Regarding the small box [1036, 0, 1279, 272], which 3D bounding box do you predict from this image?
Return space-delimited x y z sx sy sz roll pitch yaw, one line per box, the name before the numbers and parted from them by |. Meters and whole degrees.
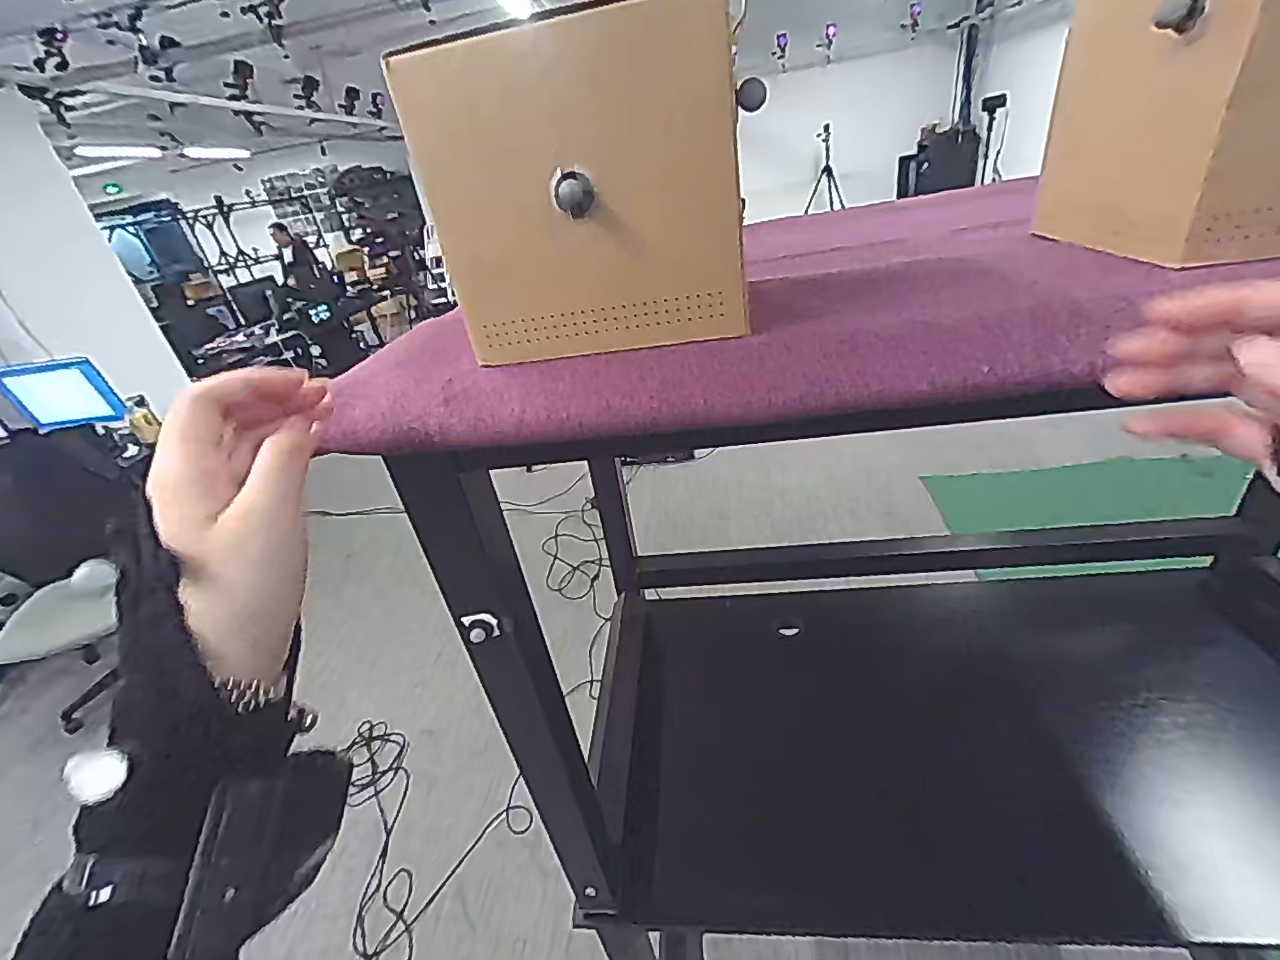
small box | 0.381 -0.229 0.325 0.168 0.176 0.179 -3 30 10
